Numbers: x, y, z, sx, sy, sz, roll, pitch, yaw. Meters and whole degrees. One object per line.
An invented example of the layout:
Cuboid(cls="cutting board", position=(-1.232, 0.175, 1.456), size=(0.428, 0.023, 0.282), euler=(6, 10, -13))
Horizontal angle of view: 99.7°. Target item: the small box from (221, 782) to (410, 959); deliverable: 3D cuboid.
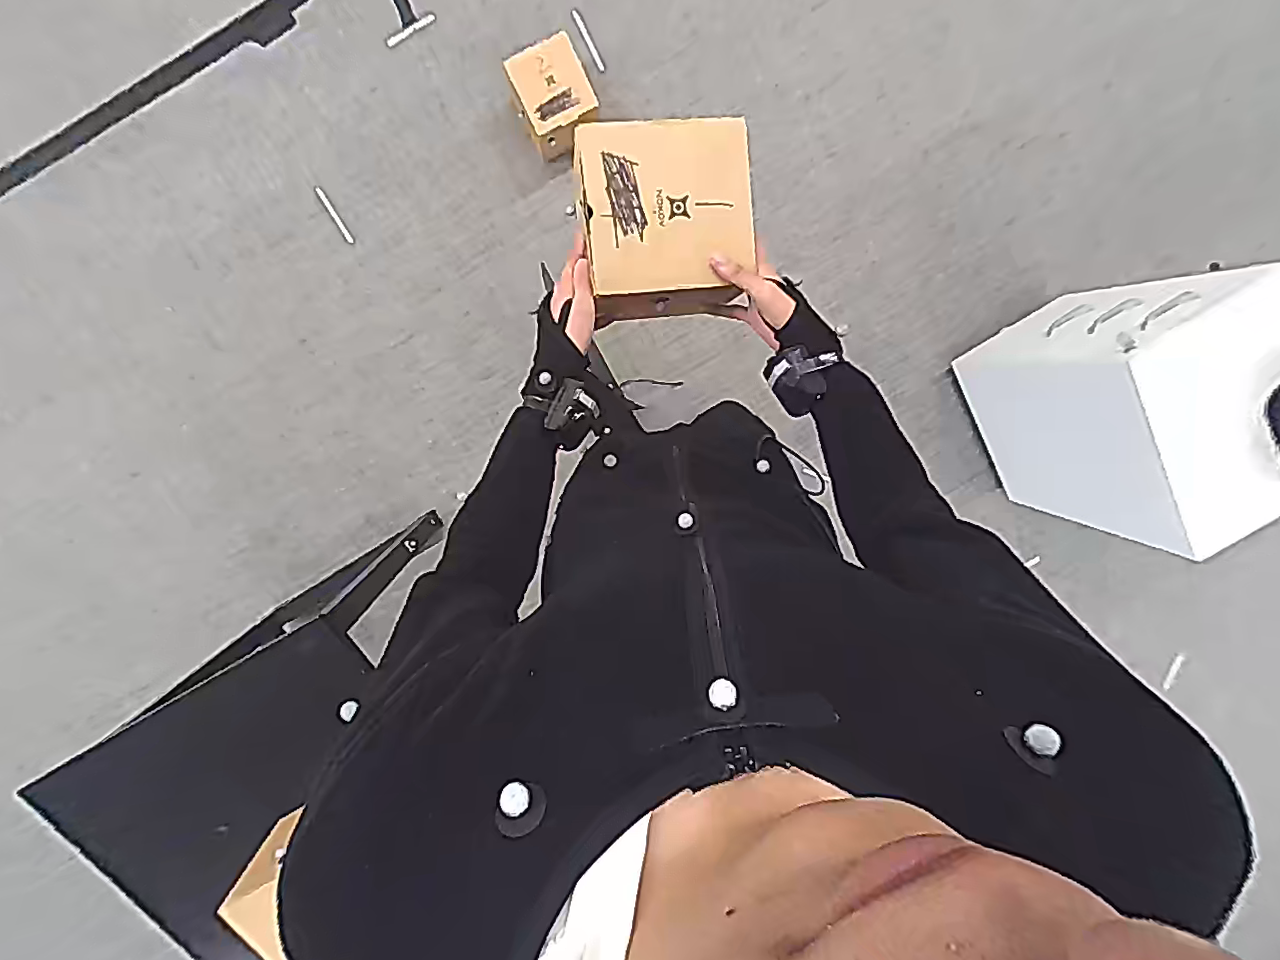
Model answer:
Cuboid(cls="small box", position=(-0.519, 0.653, 0.896), size=(0.179, 0.176, 0.168), euler=(-31, 103, 1))

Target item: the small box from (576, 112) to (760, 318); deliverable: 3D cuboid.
Cuboid(cls="small box", position=(0.022, -0.286, 0.616), size=(0.179, 0.176, 0.168), euler=(-7, 98, -8))
